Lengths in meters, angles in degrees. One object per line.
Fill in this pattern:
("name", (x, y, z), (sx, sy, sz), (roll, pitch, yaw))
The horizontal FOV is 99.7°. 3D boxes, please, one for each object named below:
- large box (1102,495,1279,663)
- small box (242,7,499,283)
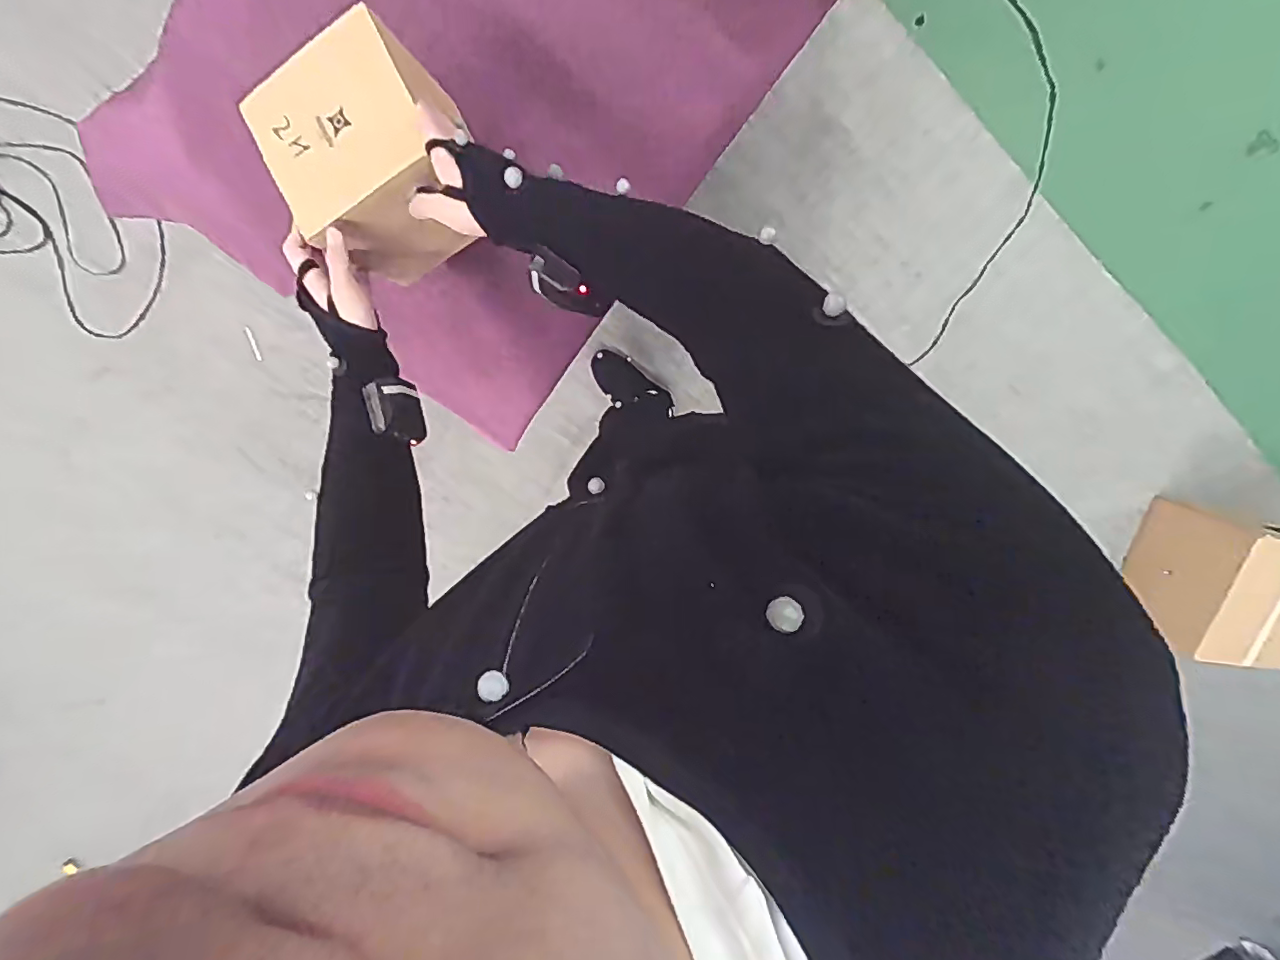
("large box", (1.761, 0.295, 1.675), (0.320, 0.320, 0.408), (6, 107, -5))
("small box", (-0.286, -0.357, 0.618), (0.179, 0.176, 0.168), (-28, 89, 12))
